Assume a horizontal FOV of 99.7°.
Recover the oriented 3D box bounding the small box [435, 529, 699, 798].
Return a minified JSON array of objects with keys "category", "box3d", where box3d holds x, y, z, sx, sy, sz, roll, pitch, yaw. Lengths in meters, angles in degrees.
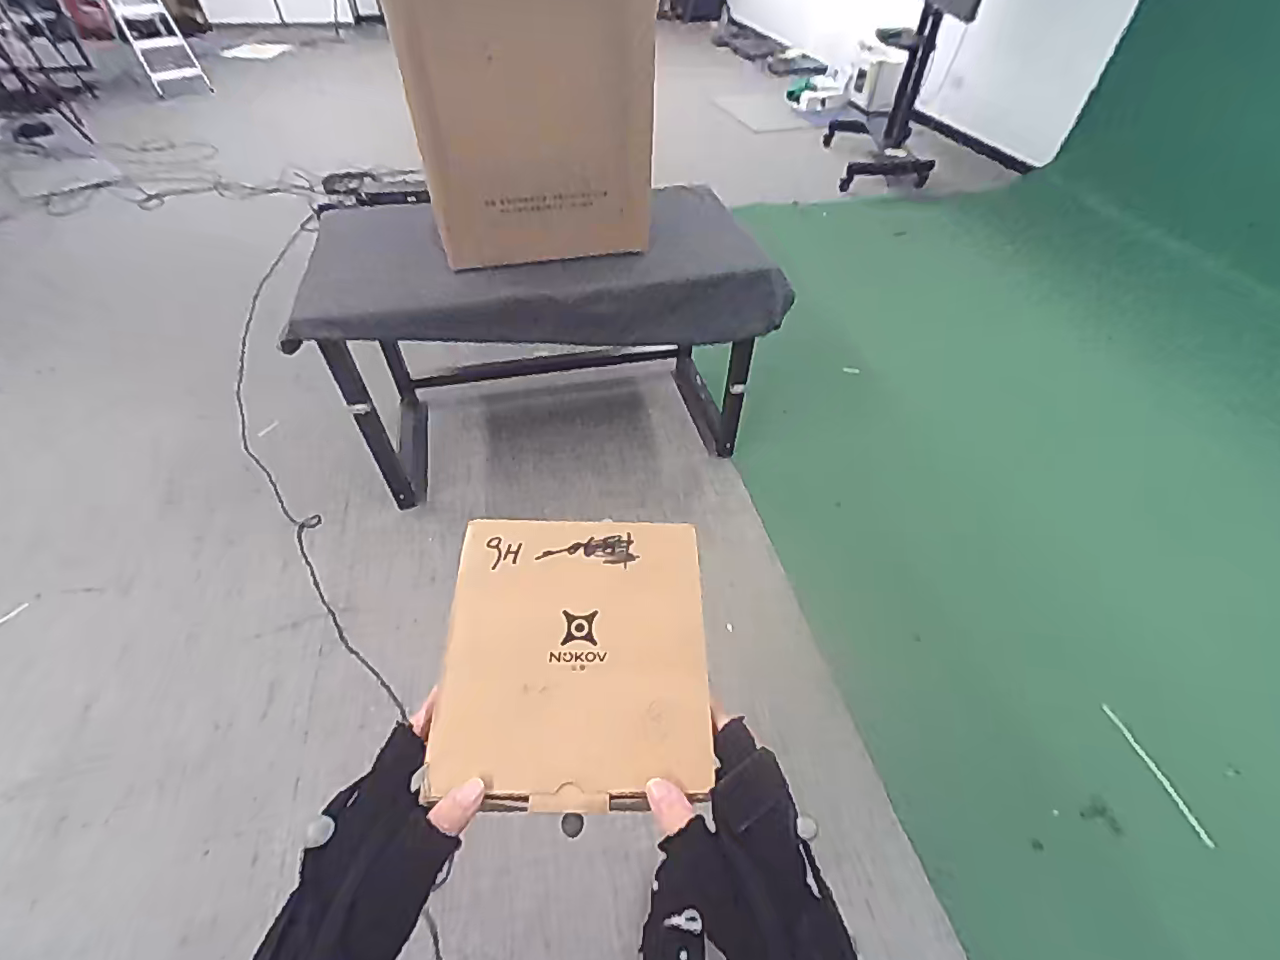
[{"category":"small box","box3d":[-0.049,0.155,0.440,0.168,0.176,0.179,-1,57,-4]}]
